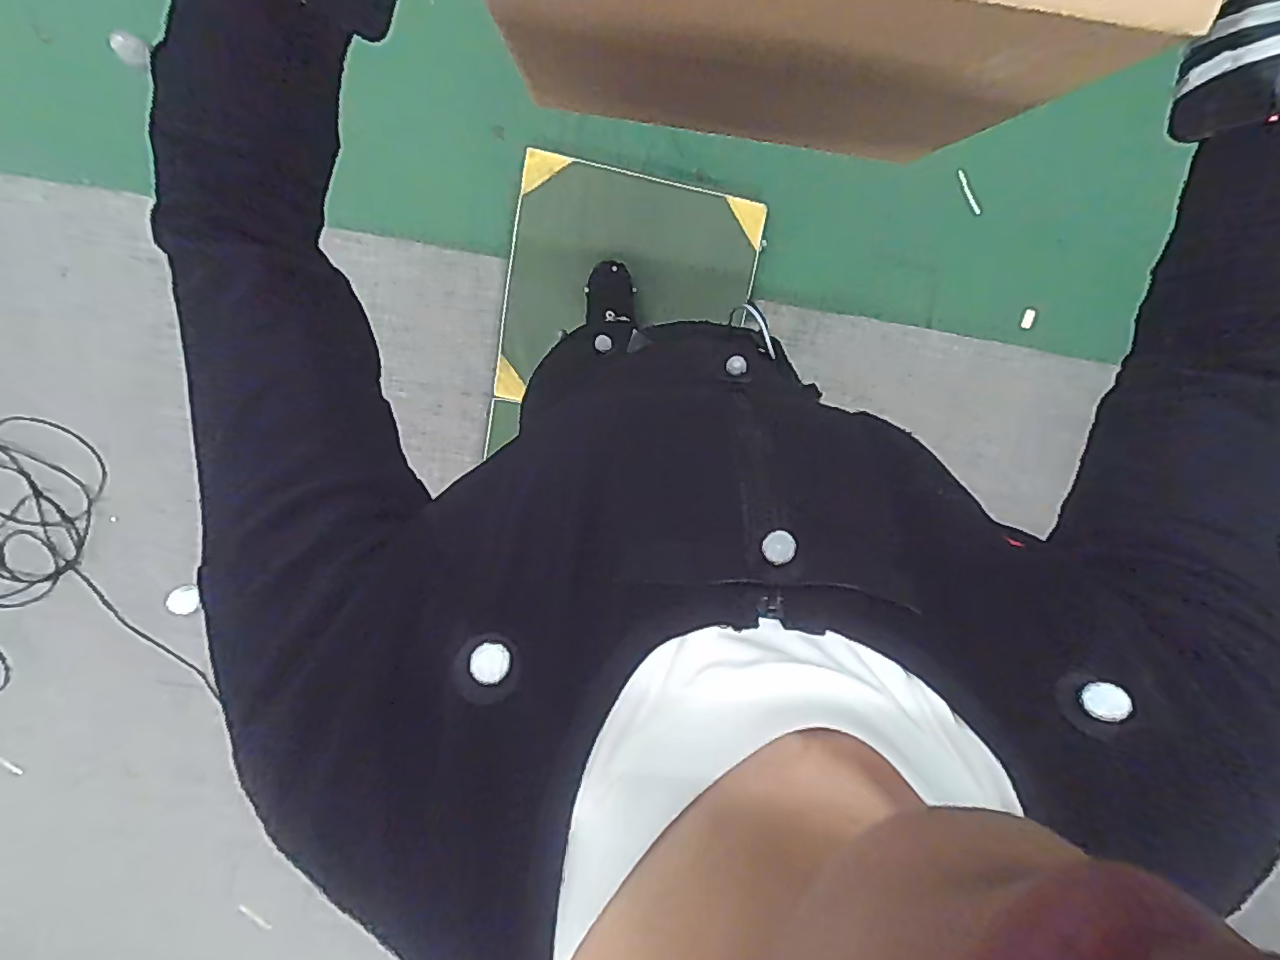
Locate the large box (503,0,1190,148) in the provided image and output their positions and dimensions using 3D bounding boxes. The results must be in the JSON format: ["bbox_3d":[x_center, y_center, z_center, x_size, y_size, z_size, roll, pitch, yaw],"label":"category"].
[{"bbox_3d":[0.113,-0.463,0.375,0.408,0.320,0.320,5,110,-5],"label":"large box"}]
